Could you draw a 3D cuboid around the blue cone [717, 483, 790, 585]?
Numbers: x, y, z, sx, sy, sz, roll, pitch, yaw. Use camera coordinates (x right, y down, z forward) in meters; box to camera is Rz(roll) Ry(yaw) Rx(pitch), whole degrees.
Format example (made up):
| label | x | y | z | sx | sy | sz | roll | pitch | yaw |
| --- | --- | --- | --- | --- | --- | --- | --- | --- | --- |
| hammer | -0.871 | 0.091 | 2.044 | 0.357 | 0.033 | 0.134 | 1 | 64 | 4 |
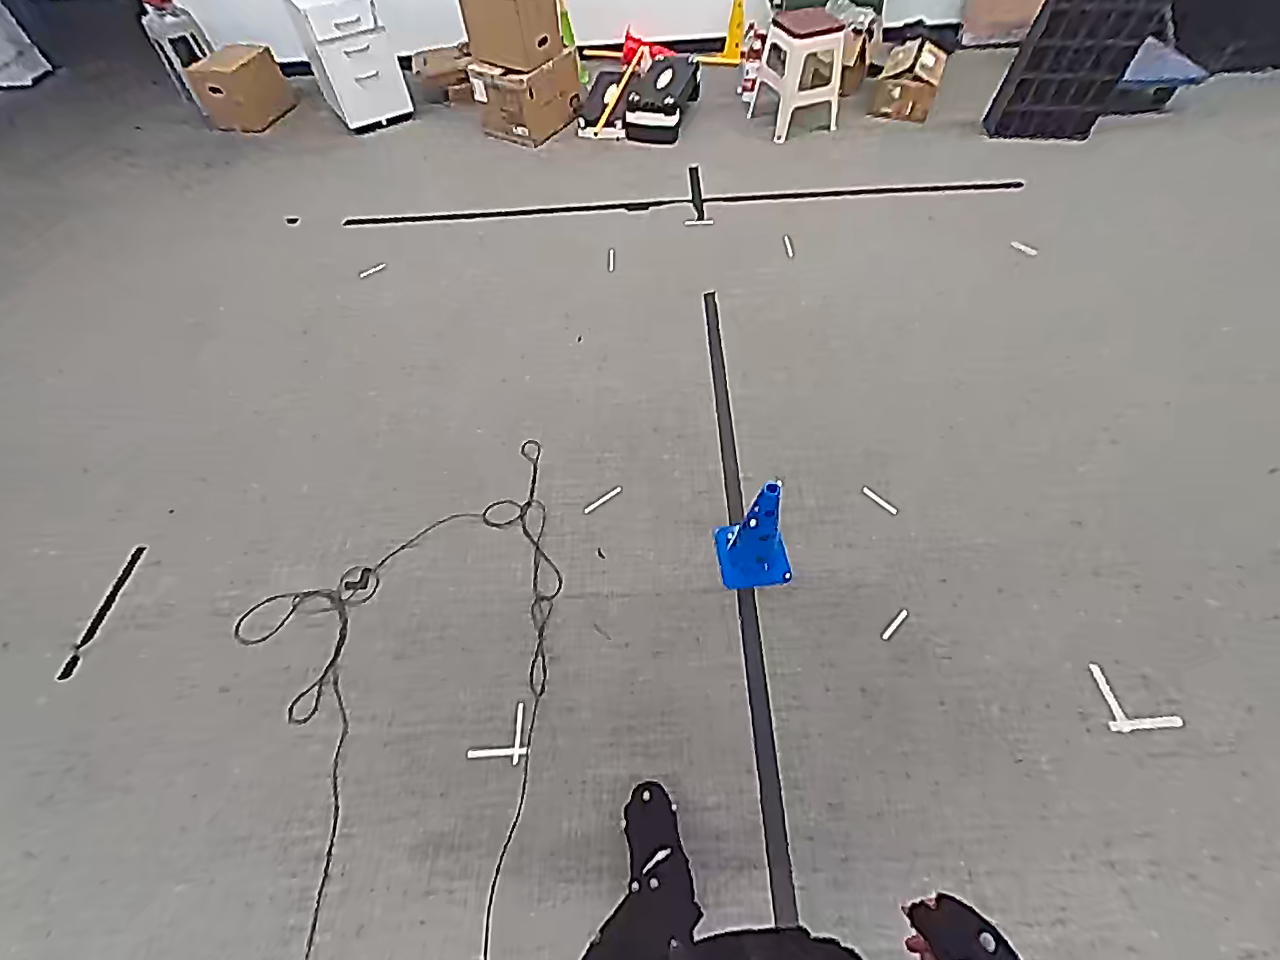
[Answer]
| label | x | y | z | sx | sy | sz | roll | pitch | yaw |
| --- | --- | --- | --- | --- | --- | --- | --- | --- | --- |
| blue cone | 0.325 | 0.126 | 1.449 | 0.192 | 0.380 | 0.193 | -4 | 56 | -2 |
